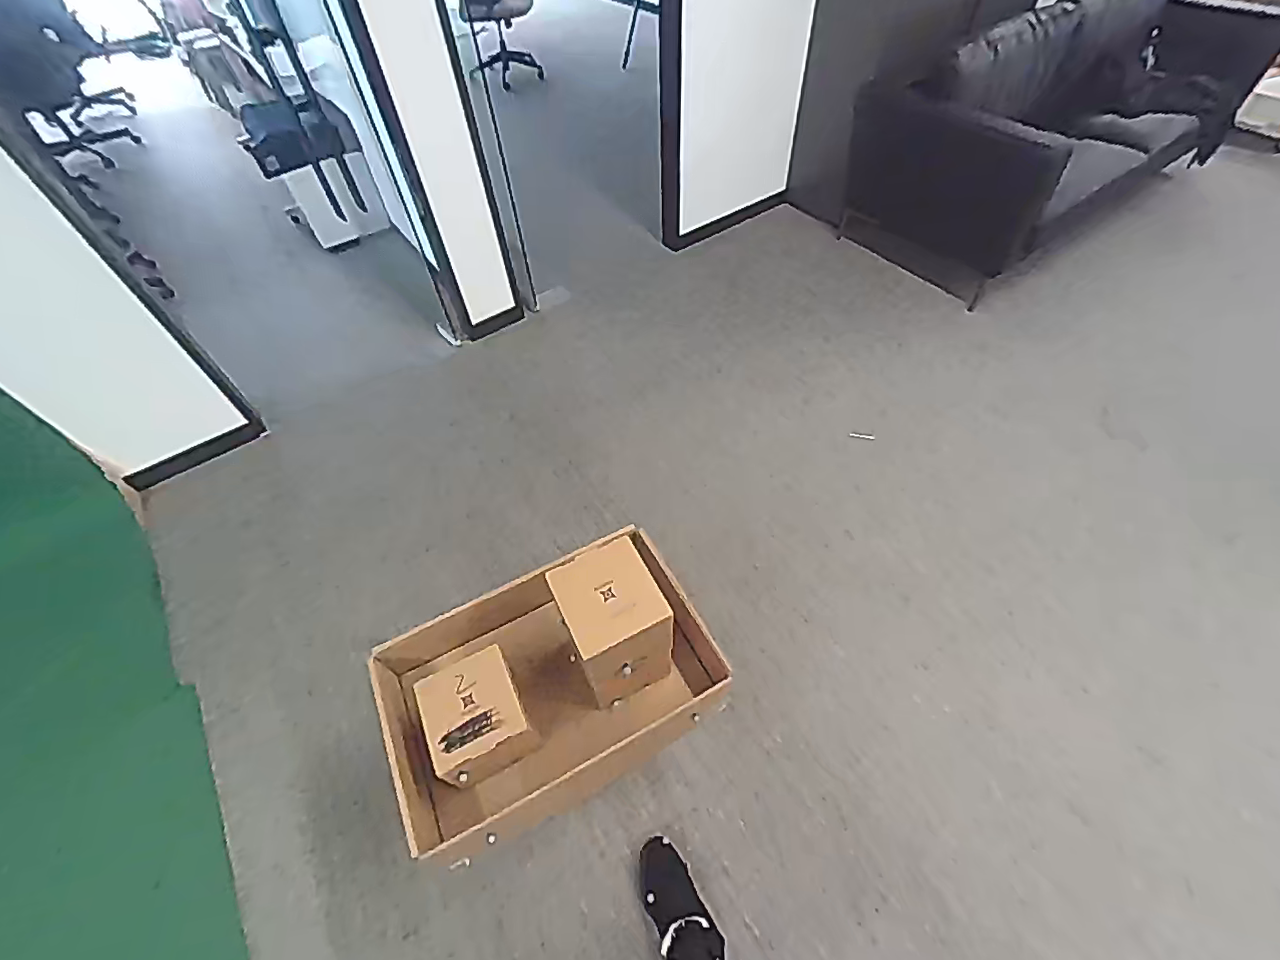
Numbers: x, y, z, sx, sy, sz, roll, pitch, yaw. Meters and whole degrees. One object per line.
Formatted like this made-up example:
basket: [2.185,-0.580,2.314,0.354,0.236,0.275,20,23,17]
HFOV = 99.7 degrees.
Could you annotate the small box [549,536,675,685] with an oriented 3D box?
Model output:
small box: [-0.049,0.238,0.979,0.168,0.176,0.179,-24,56,-13]
